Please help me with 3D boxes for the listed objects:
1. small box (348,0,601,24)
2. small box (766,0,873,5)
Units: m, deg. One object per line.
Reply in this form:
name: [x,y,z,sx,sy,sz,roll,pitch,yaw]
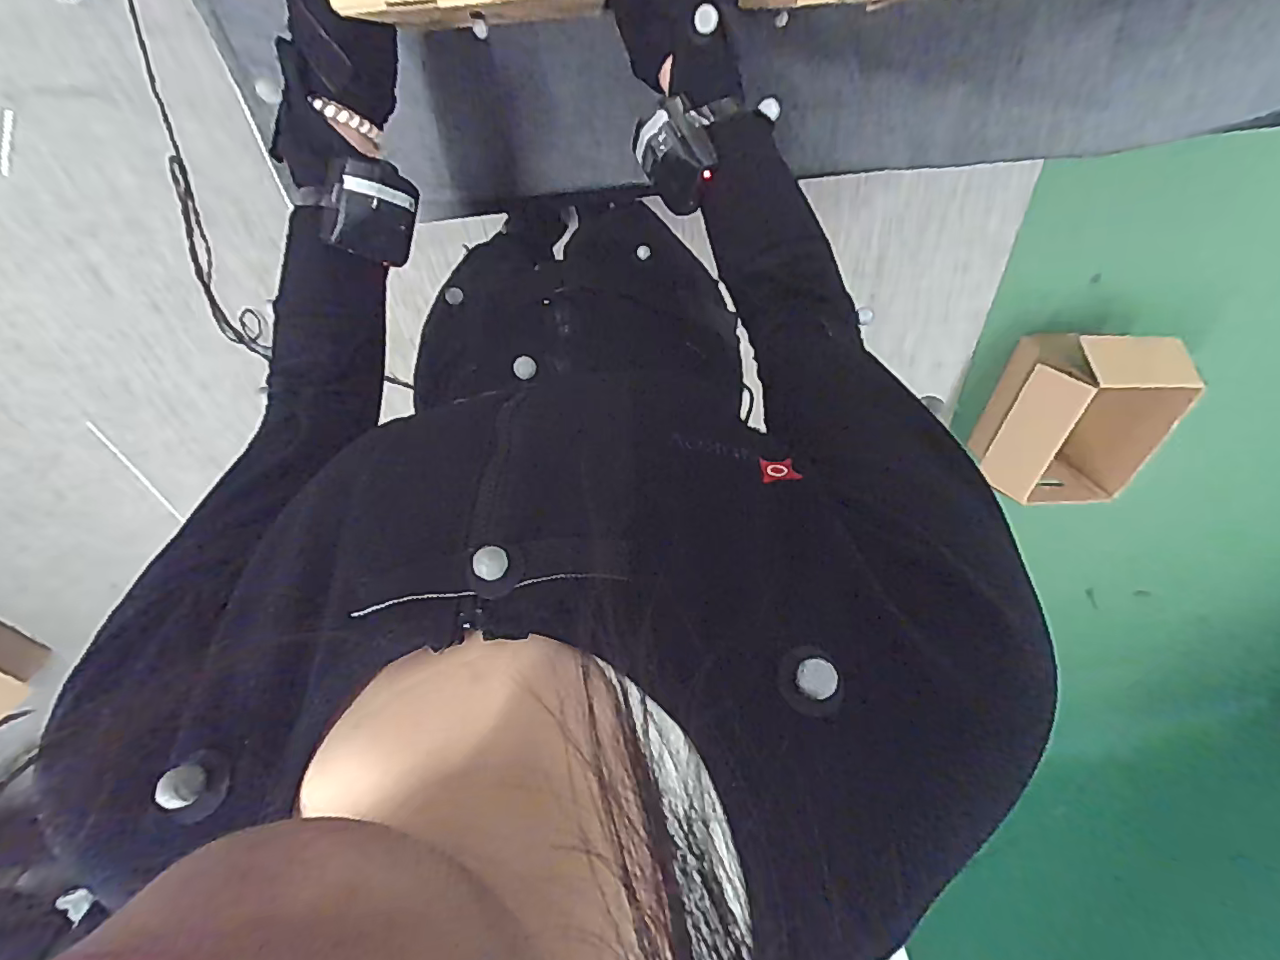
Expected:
small box: [-0.108,-0.401,0.328,0.168,0.176,0.179,-8,129,-2]
small box: [0.175,-0.448,0.372,0.168,0.176,0.179,-6,130,-2]
